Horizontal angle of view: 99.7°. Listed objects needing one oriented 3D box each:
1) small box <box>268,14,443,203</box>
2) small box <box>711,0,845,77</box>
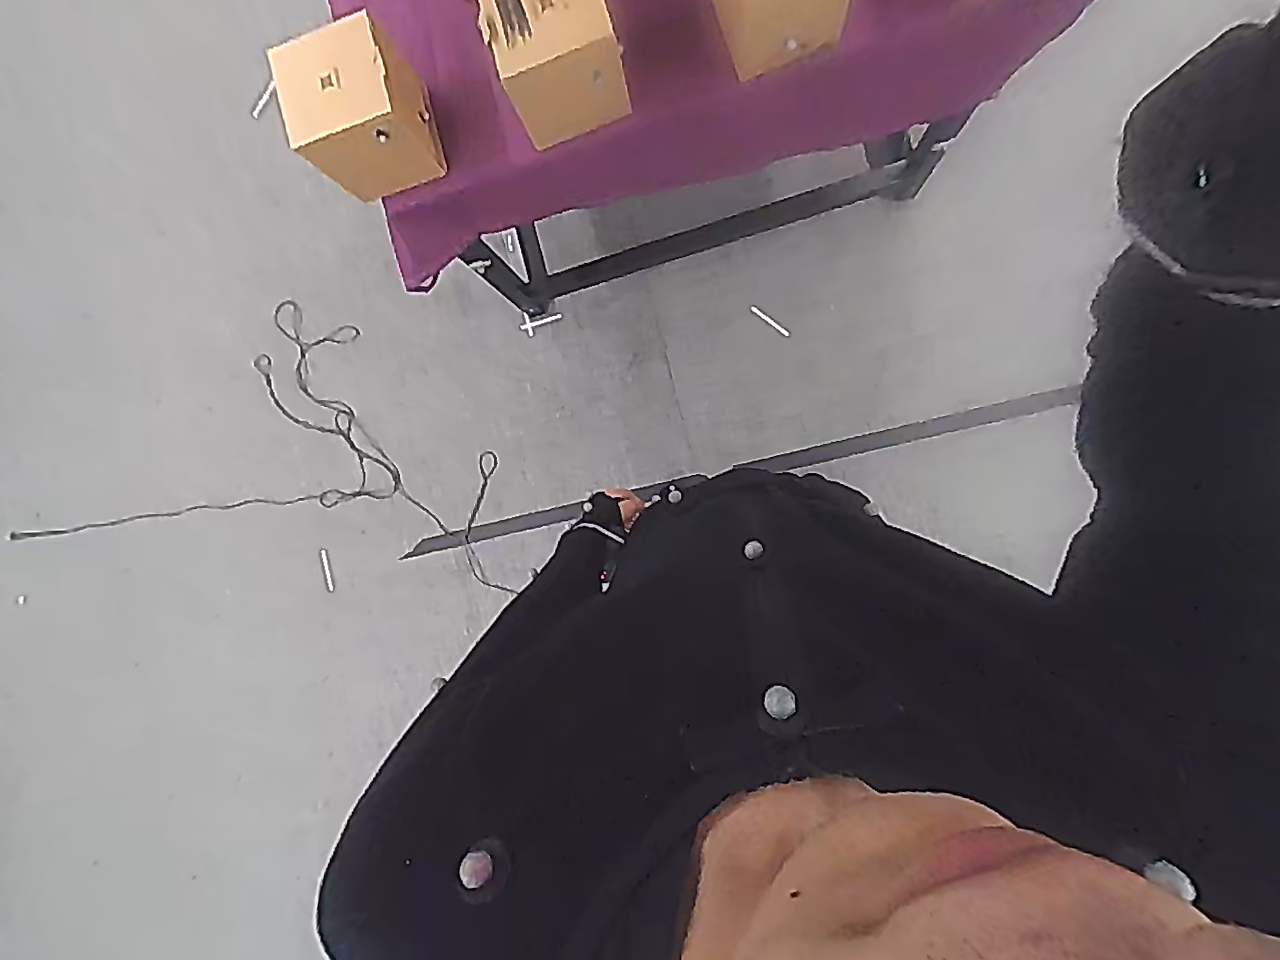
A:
[{"bbox_3d":[-0.459,-0.596,0.895,0.179,0.176,0.168,-16,87,7],"label":"small box"},{"bbox_3d":[0.198,-0.758,0.797,0.168,0.176,0.179,-19,88,9],"label":"small box"}]
